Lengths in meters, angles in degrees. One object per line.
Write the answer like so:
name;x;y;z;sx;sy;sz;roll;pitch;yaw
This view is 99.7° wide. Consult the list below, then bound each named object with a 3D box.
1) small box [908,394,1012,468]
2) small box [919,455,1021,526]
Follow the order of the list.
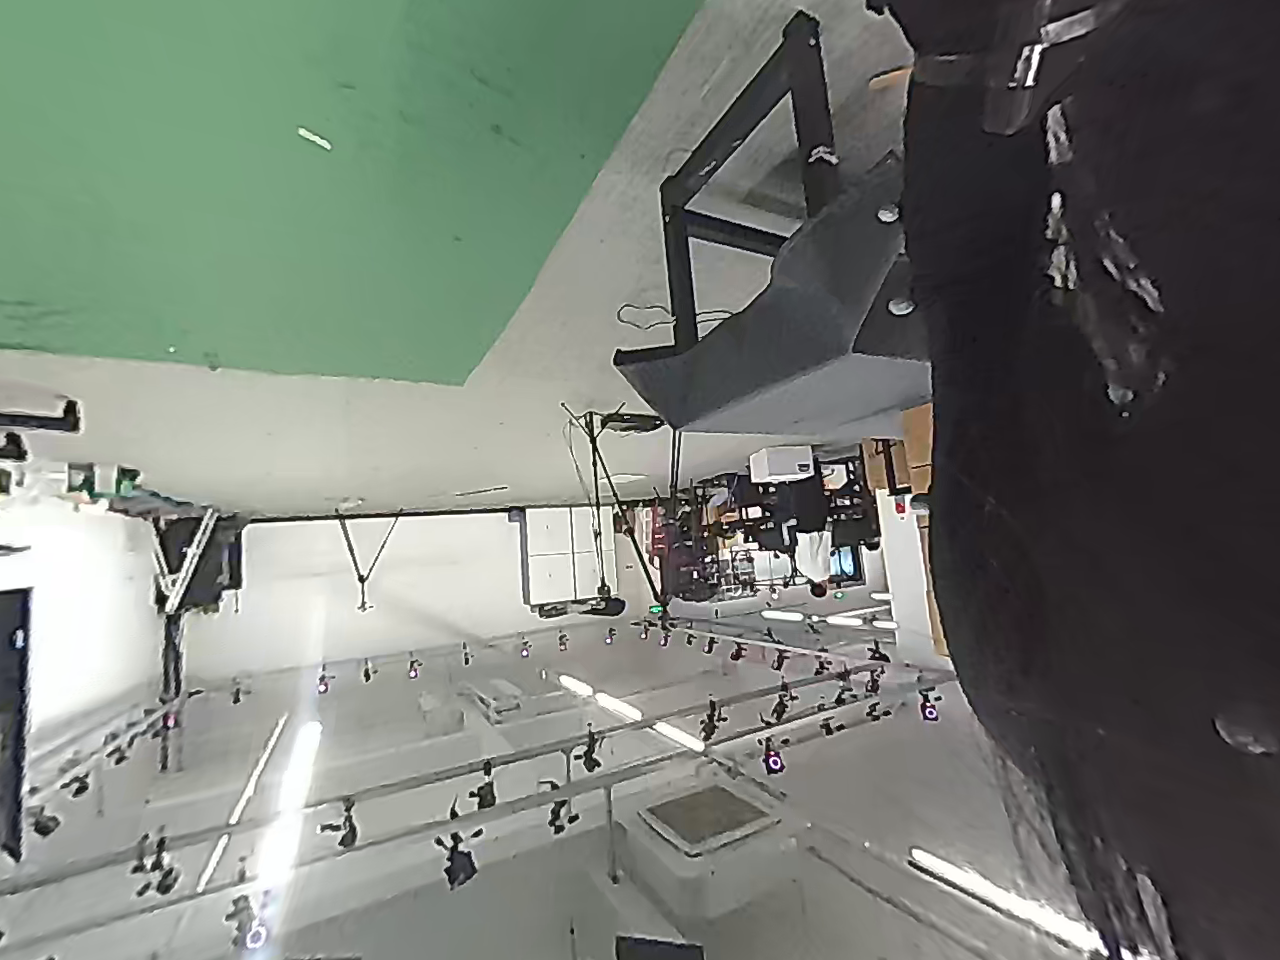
small box;0.856;-0.129;1.459;0.168;0.176;0.179;-1;172;-28
small box;0.868;0.031;1.436;0.168;0.176;0.179;0;171;-28
